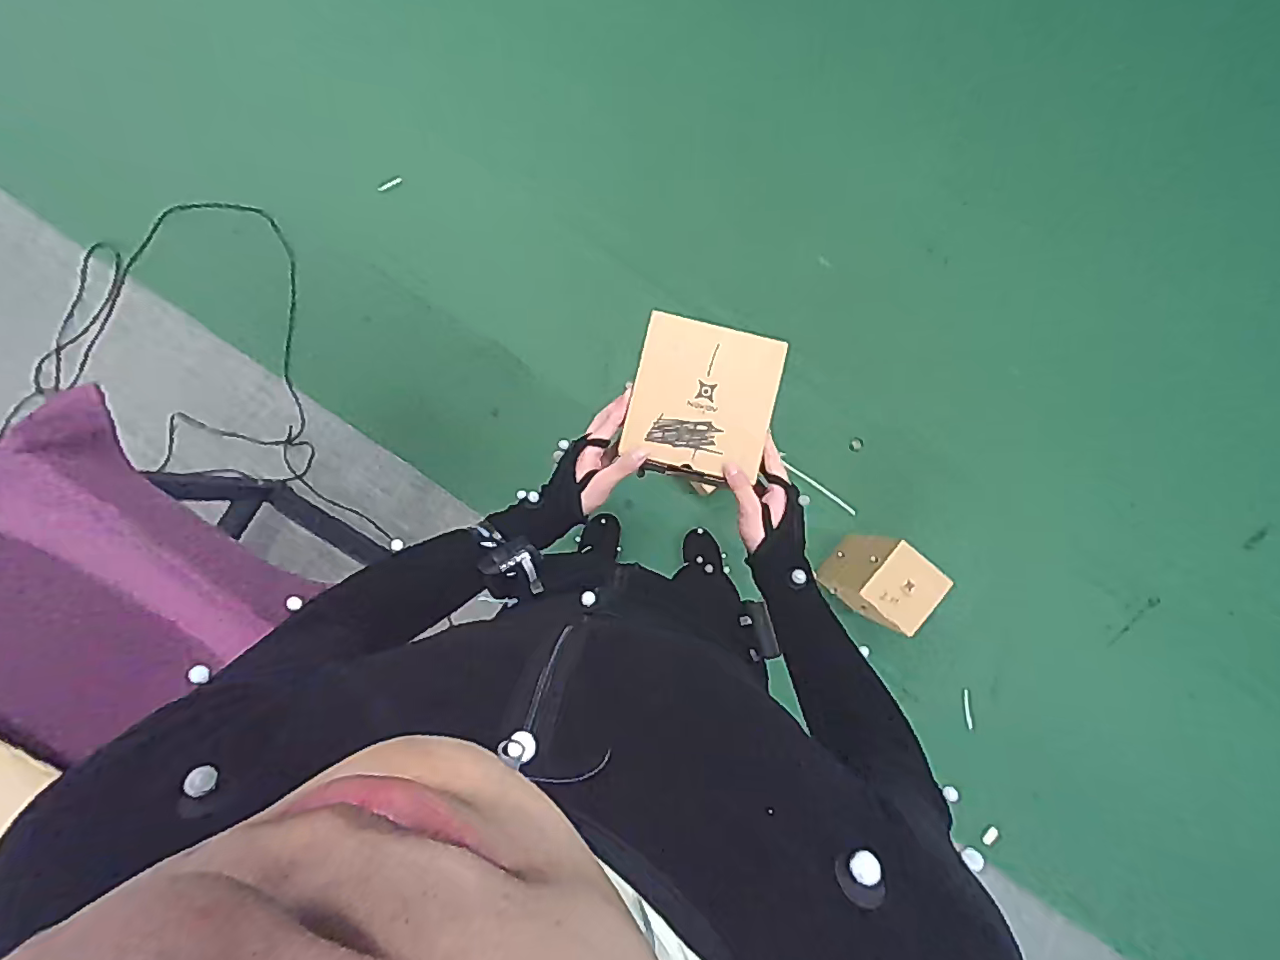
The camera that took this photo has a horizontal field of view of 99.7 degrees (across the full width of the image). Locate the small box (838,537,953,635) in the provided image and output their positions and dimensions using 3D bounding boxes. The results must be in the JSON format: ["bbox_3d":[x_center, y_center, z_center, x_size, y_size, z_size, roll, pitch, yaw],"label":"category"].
[{"bbox_3d":[0.646,0.263,1.390,0.168,0.176,0.179,41,88,1],"label":"small box"}]

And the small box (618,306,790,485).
[{"bbox_3d":[0.074,-0.095,0.697,0.168,0.176,0.179,14,87,0],"label":"small box"}]

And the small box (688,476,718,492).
[{"bbox_3d":[0.203,-0.083,1.567,0.179,0.176,0.168,-41,89,-1],"label":"small box"}]
